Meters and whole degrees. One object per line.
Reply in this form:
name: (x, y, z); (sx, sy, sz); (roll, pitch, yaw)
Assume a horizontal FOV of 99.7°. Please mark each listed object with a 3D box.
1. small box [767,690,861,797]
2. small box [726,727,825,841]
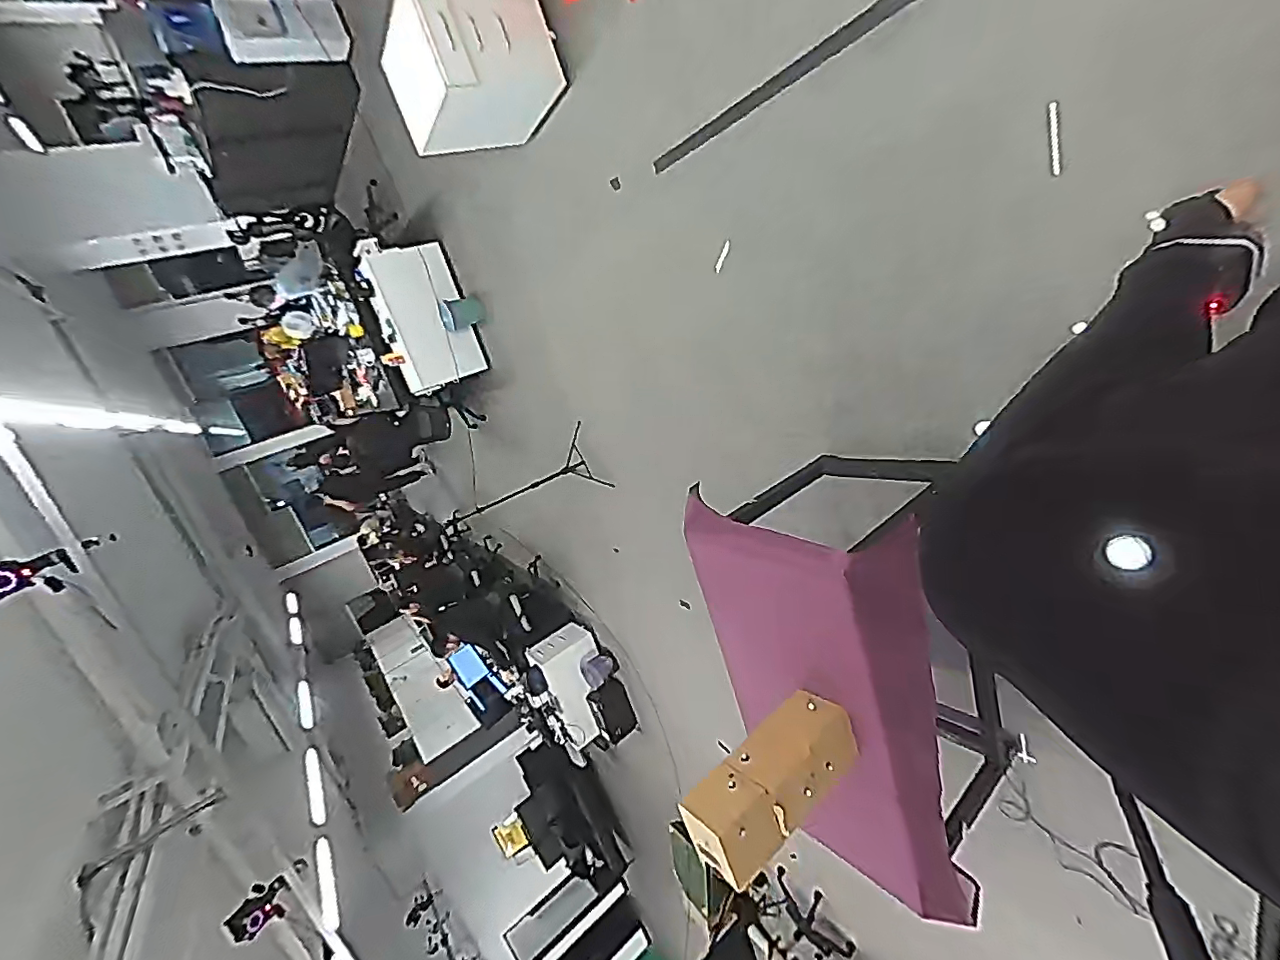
small box: (0.495, 0.734, 1.527); (0.168, 0.176, 0.179); (0, 114, 58)
small box: (0.365, 0.802, 1.451); (0.179, 0.176, 0.168); (10, 123, 55)
